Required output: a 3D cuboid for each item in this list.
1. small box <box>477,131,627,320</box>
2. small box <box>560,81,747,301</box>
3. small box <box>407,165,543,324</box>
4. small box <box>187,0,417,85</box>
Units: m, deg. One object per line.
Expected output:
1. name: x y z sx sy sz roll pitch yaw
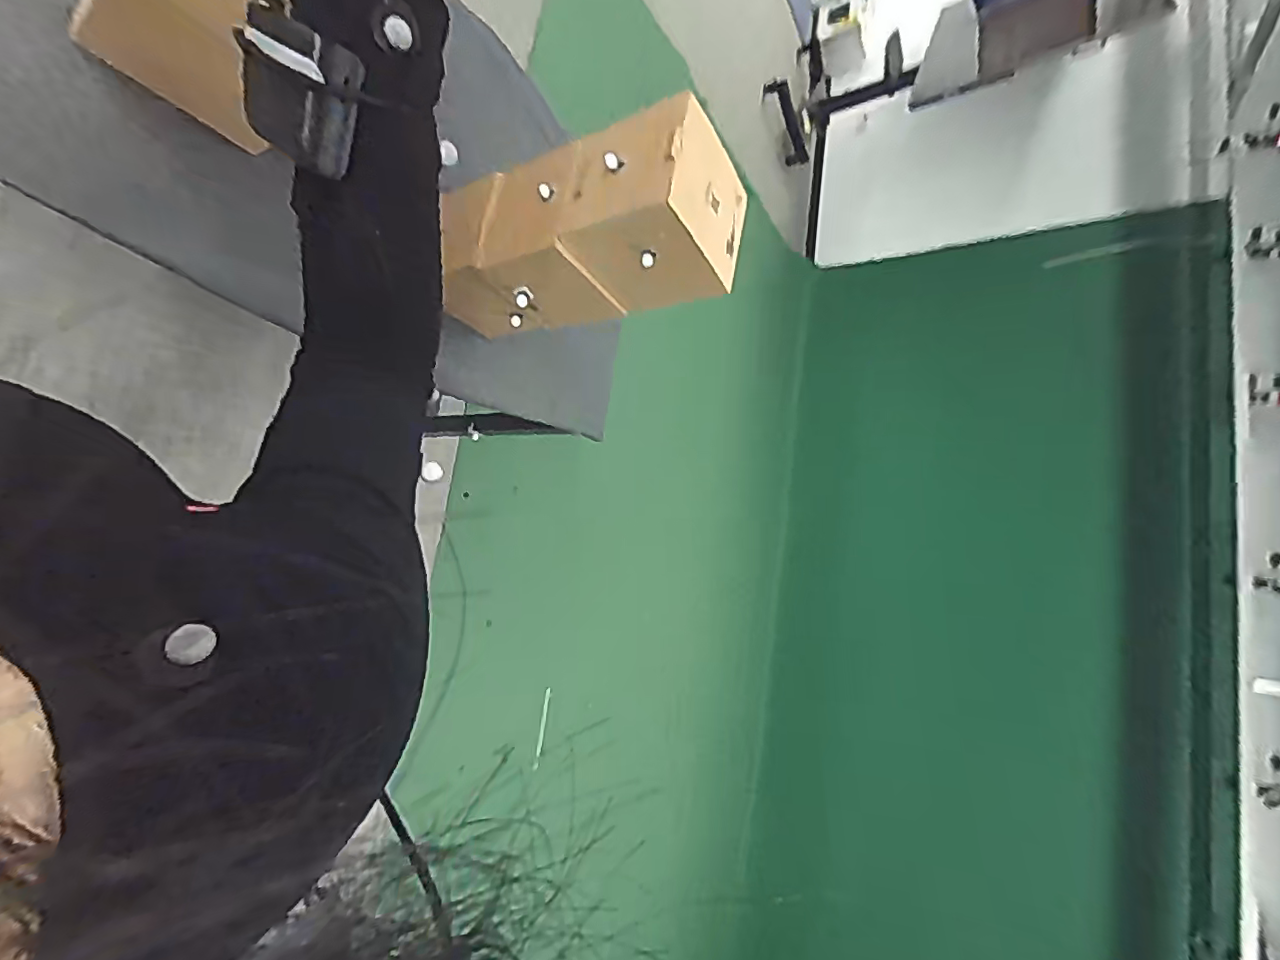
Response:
1. small box: -0.116 -0.364 0.807 0.168 0.176 0.179 29 69 -51
2. small box: 0.021 -0.361 0.716 0.179 0.176 0.168 32 66 -50
3. small box: -0.247 -0.376 0.901 0.179 0.176 0.168 27 69 -53
4. small box: -0.322 -0.509 0.494 0.179 0.176 0.168 21 75 -54
